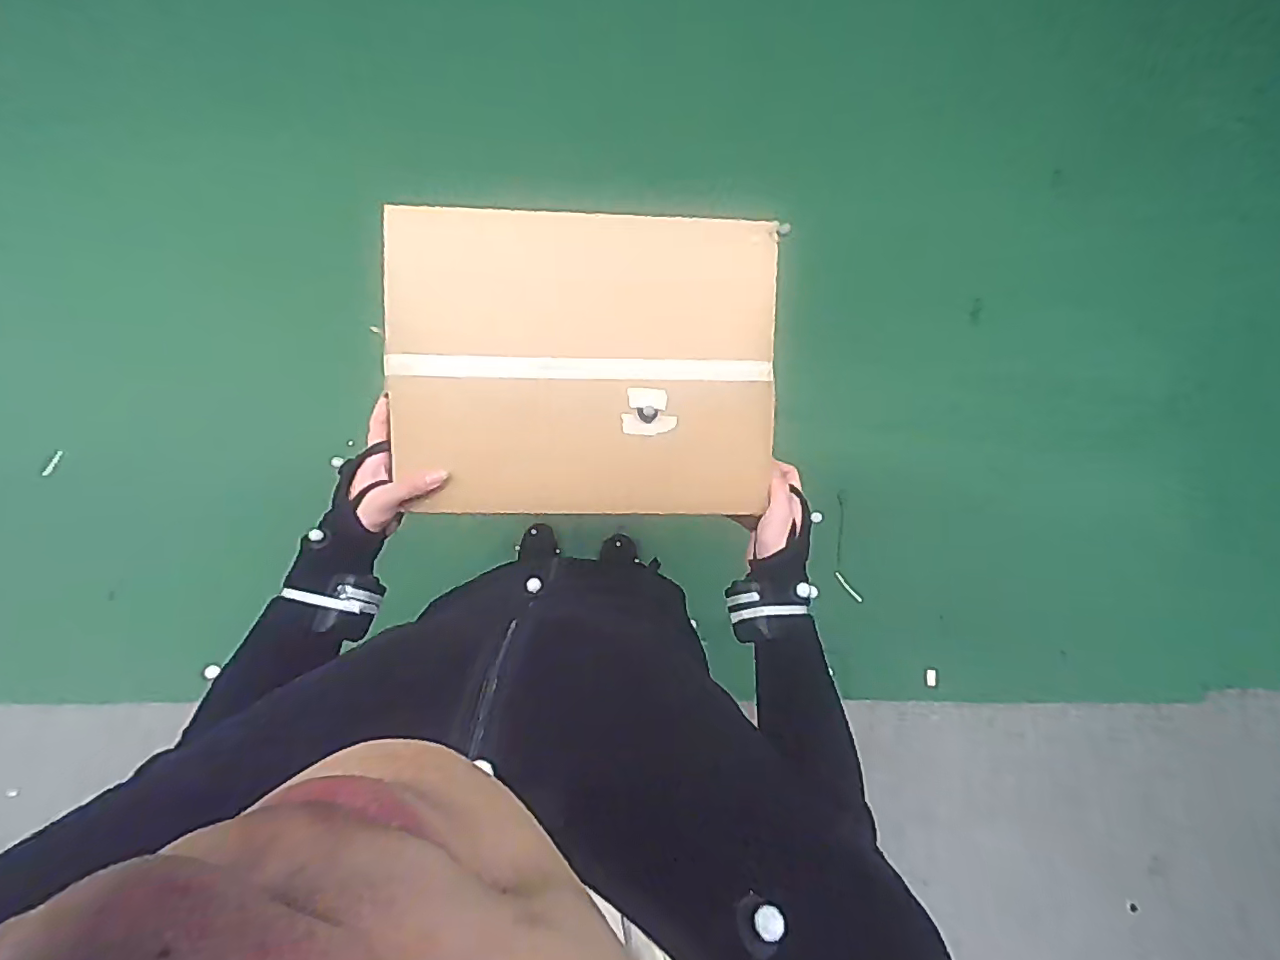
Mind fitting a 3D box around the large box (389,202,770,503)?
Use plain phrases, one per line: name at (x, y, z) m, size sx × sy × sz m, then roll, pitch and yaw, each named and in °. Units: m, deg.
large box at (-0.072, -0.146, 0.725) m, size 0.408 × 0.320 × 0.320 m, roll 0°, pitch 97°, yaw -5°
